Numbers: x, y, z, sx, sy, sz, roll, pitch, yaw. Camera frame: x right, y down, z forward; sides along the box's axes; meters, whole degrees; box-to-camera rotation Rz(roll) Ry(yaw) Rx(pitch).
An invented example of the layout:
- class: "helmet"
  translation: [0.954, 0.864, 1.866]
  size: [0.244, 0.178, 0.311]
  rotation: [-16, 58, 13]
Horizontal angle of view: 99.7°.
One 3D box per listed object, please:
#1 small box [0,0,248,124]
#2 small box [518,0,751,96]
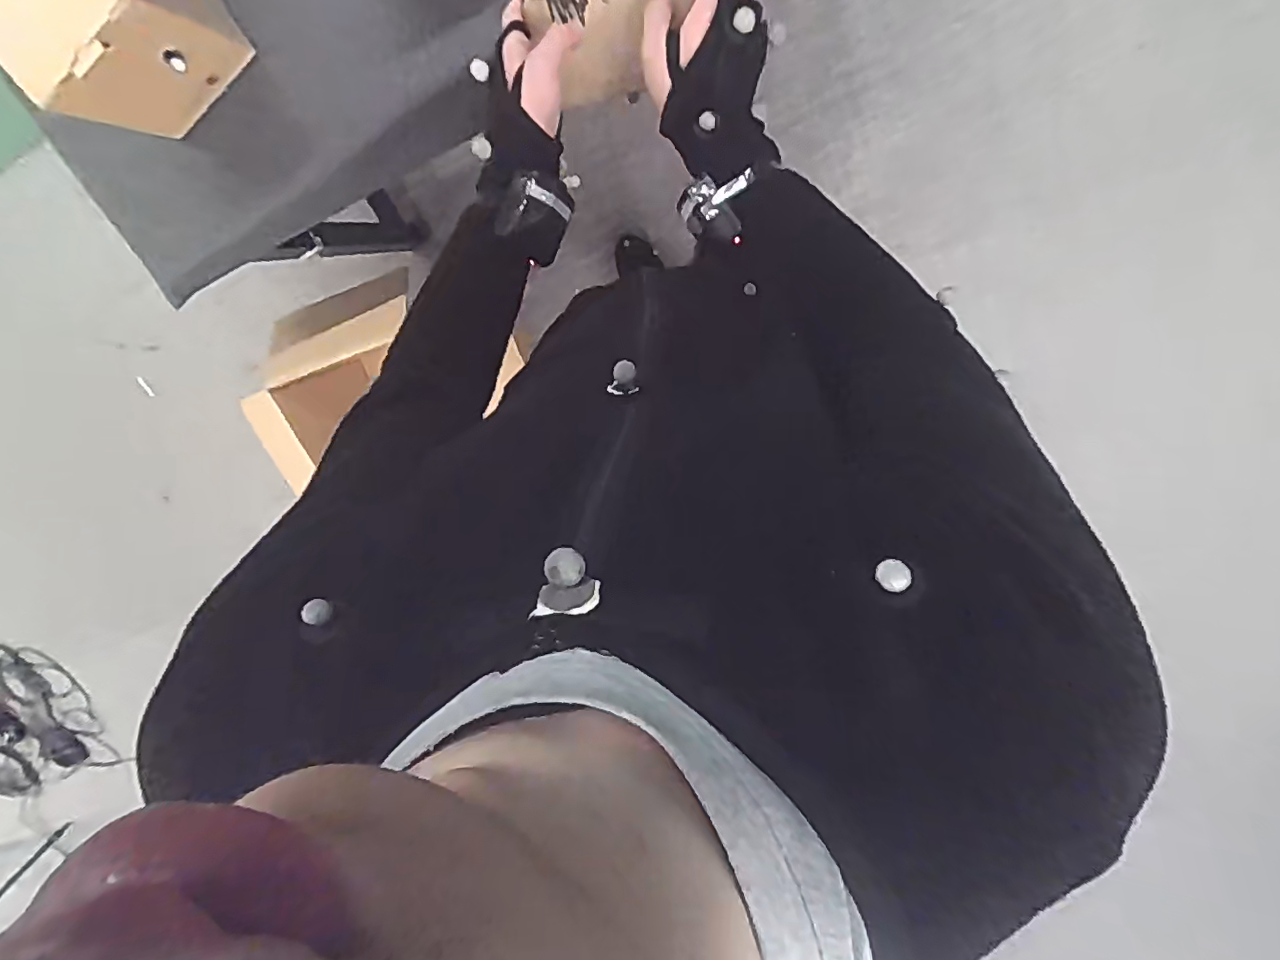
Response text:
- class: "small box"
  translation: [-0.587, -0.522, 0.584]
  size: [0.168, 0.176, 0.179]
  rotation: [-30, 106, 17]
- class: "small box"
  translation: [-0.003, -0.461, 0.471]
  size: [0.179, 0.176, 0.168]
  rotation: [3, 137, 17]
